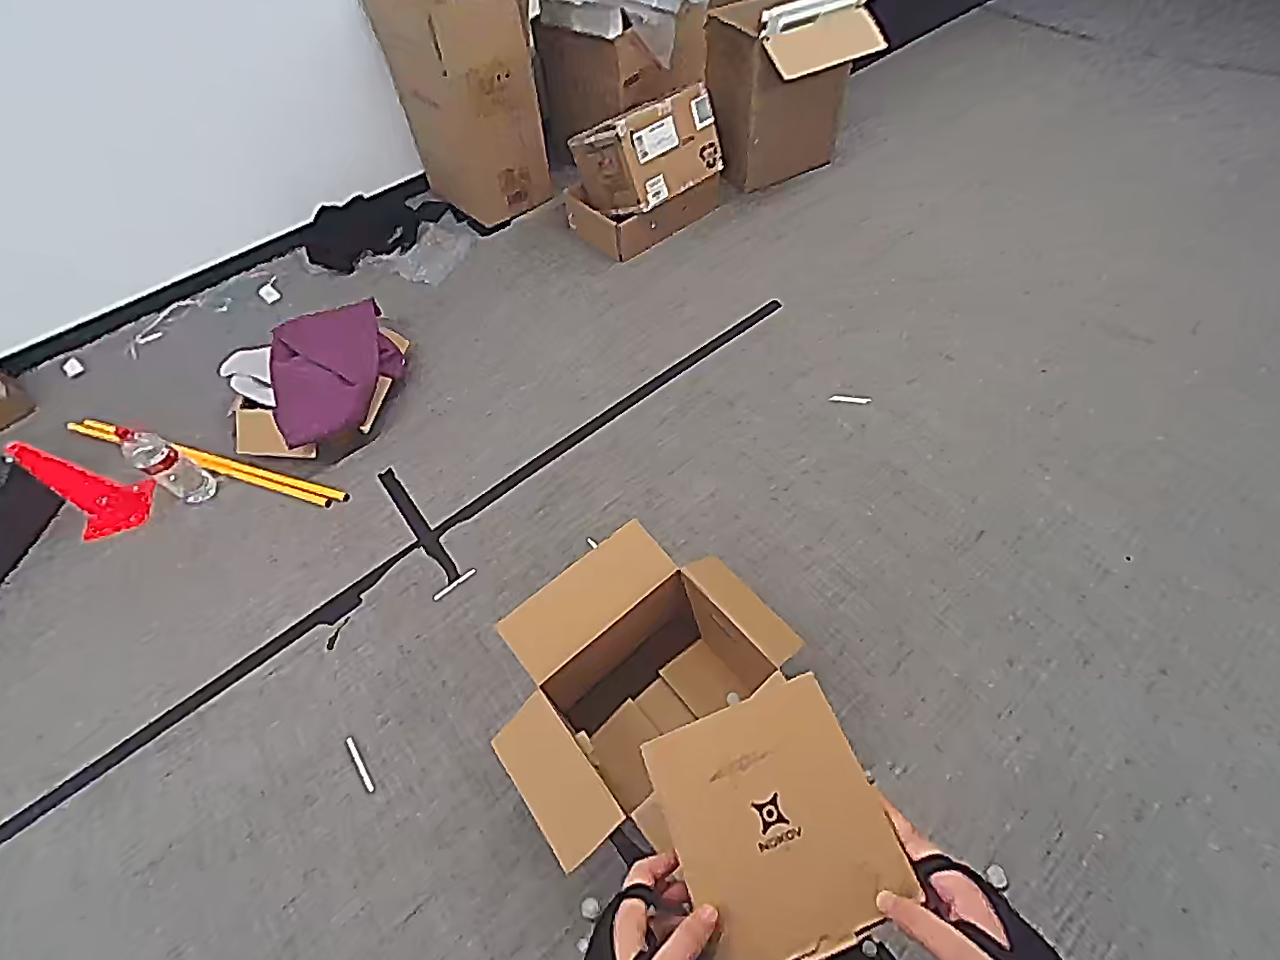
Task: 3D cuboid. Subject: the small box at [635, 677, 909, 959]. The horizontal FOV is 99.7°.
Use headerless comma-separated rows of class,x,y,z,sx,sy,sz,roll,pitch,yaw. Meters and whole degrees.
small box,0.111,0.307,0.510,0.168,0.176,0.179,-23,62,-2
